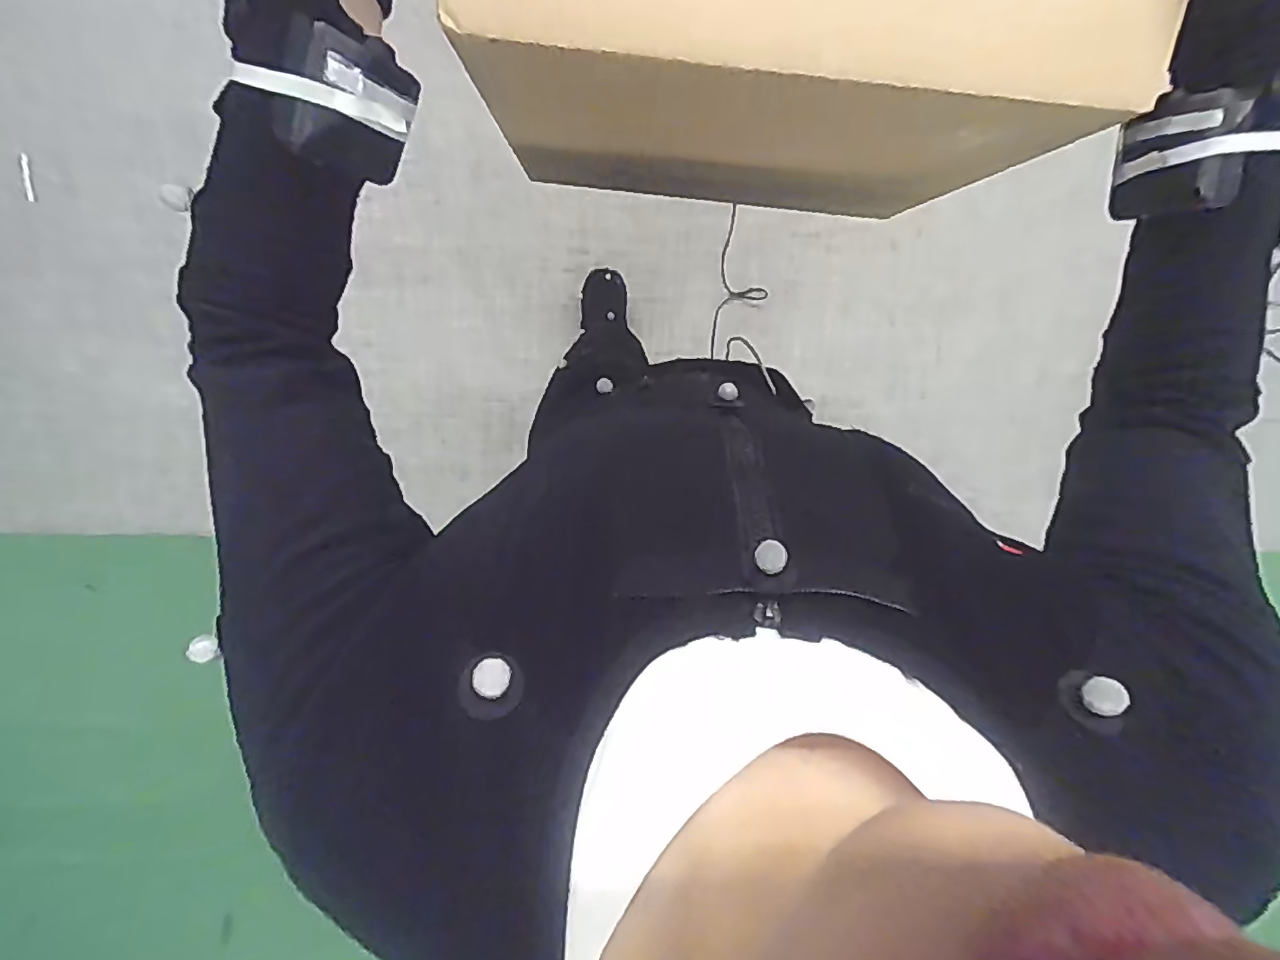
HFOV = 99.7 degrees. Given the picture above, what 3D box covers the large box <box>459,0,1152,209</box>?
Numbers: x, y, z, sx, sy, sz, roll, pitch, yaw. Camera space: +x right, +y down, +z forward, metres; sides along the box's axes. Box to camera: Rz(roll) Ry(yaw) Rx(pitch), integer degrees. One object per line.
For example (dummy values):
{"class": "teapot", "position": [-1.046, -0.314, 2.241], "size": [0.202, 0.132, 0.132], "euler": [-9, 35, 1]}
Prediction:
{"class": "large box", "position": [0.096, -0.421, 0.418], "size": [0.408, 0.320, 0.320], "euler": [3, 106, -4]}
